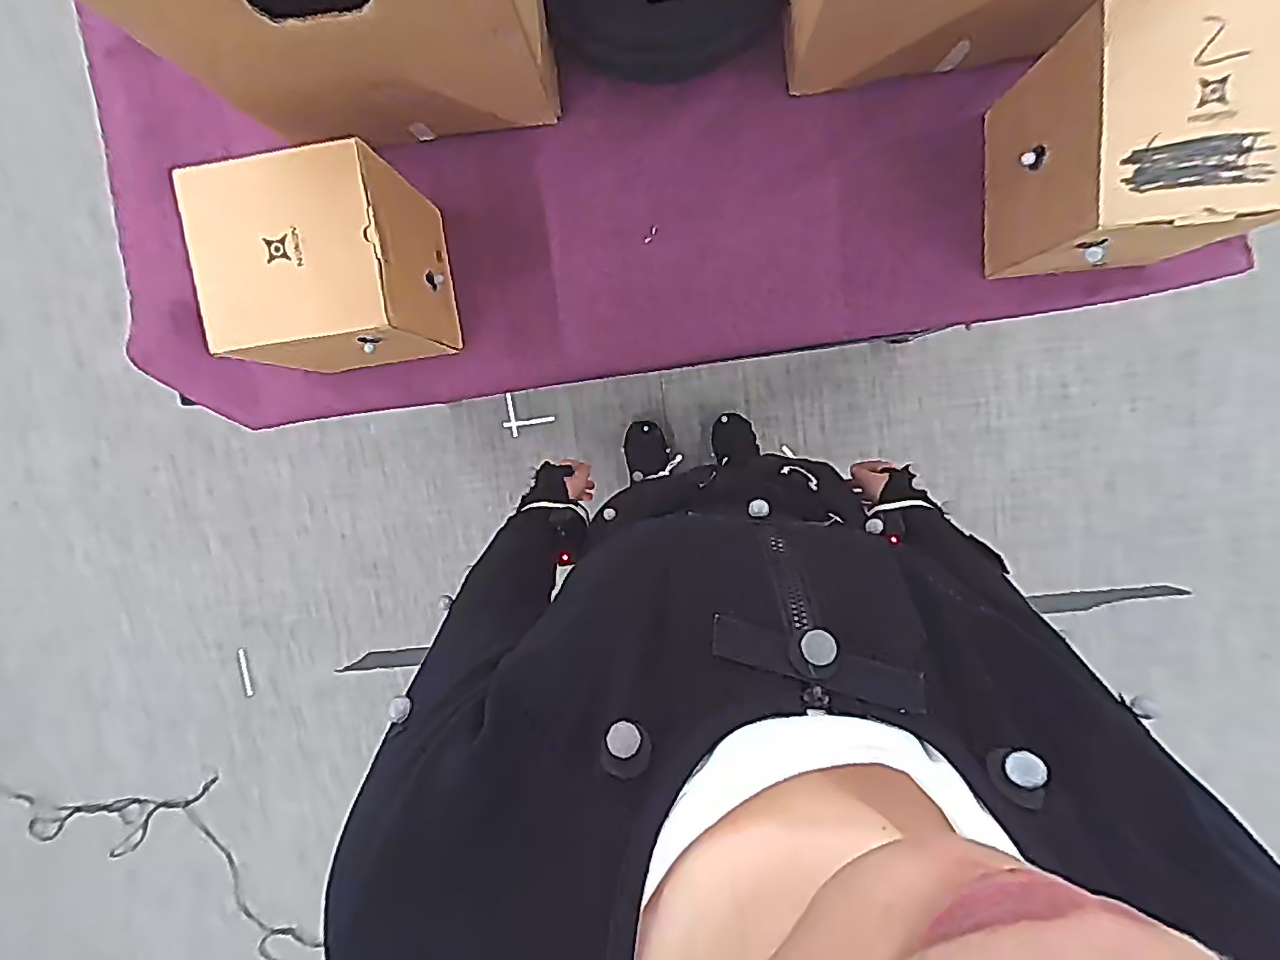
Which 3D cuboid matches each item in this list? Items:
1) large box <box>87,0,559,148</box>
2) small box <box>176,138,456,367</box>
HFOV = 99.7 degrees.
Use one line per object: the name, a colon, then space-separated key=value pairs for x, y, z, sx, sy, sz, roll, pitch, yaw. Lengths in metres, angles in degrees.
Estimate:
large box: x=-0.269 y=-0.569 z=0.454 sx=0.320 sy=0.320 sz=0.408 roll=-5 pitch=99 yaw=5
small box: x=-0.321 y=-0.219 z=0.570 sx=0.179 sy=0.176 sz=0.168 roll=-8 pitch=95 yaw=4
